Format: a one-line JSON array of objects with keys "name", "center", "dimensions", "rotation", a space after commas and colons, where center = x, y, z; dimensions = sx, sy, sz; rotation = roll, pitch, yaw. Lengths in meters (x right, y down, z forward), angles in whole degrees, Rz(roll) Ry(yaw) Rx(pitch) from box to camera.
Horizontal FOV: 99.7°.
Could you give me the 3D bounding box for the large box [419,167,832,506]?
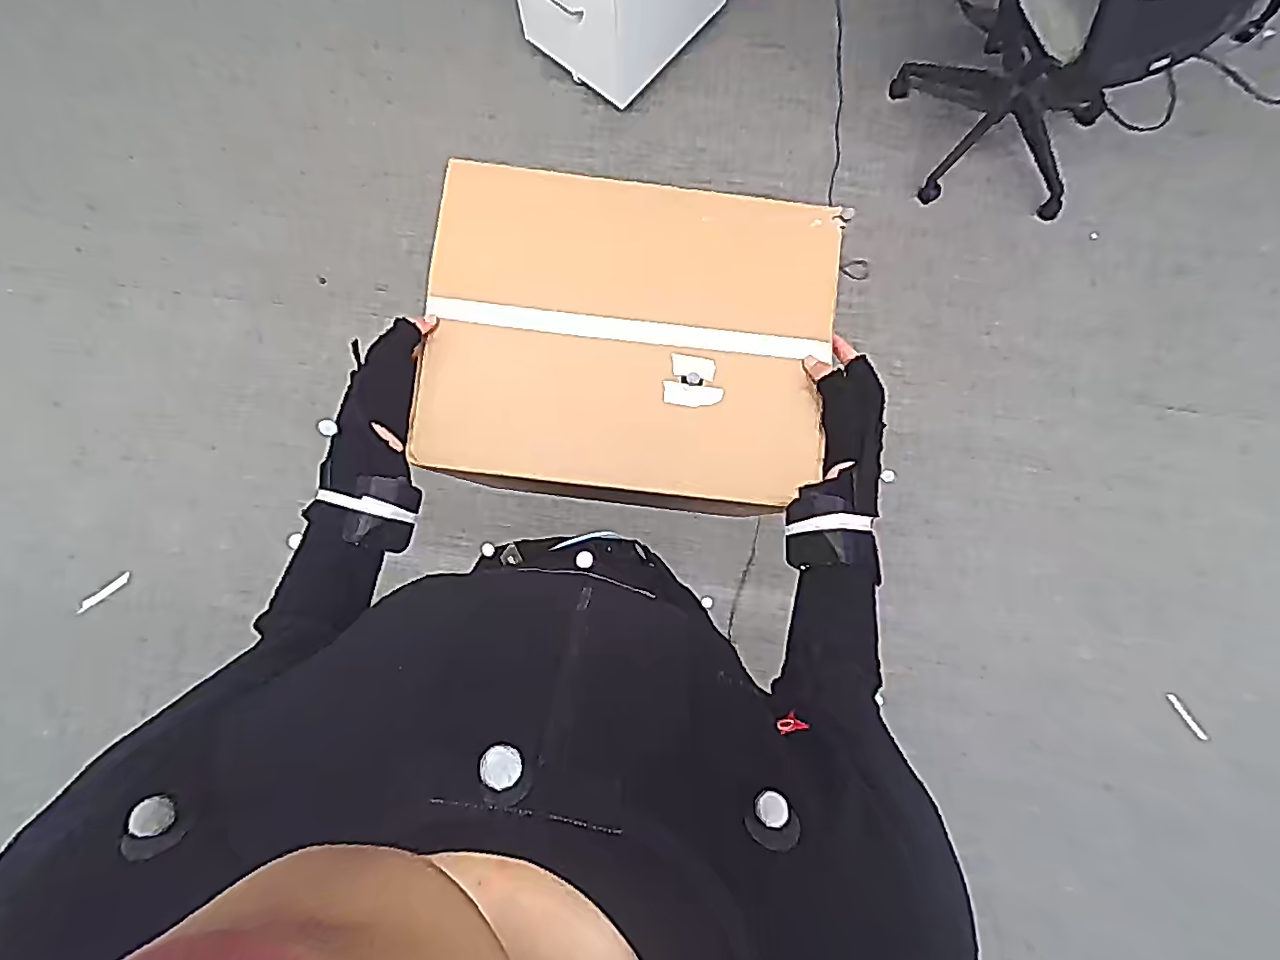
[{"name": "large box", "center": [-0.016, -0.142, 0.700], "dimensions": [0.408, 0.320, 0.320], "rotation": [7, 86, -2]}]
